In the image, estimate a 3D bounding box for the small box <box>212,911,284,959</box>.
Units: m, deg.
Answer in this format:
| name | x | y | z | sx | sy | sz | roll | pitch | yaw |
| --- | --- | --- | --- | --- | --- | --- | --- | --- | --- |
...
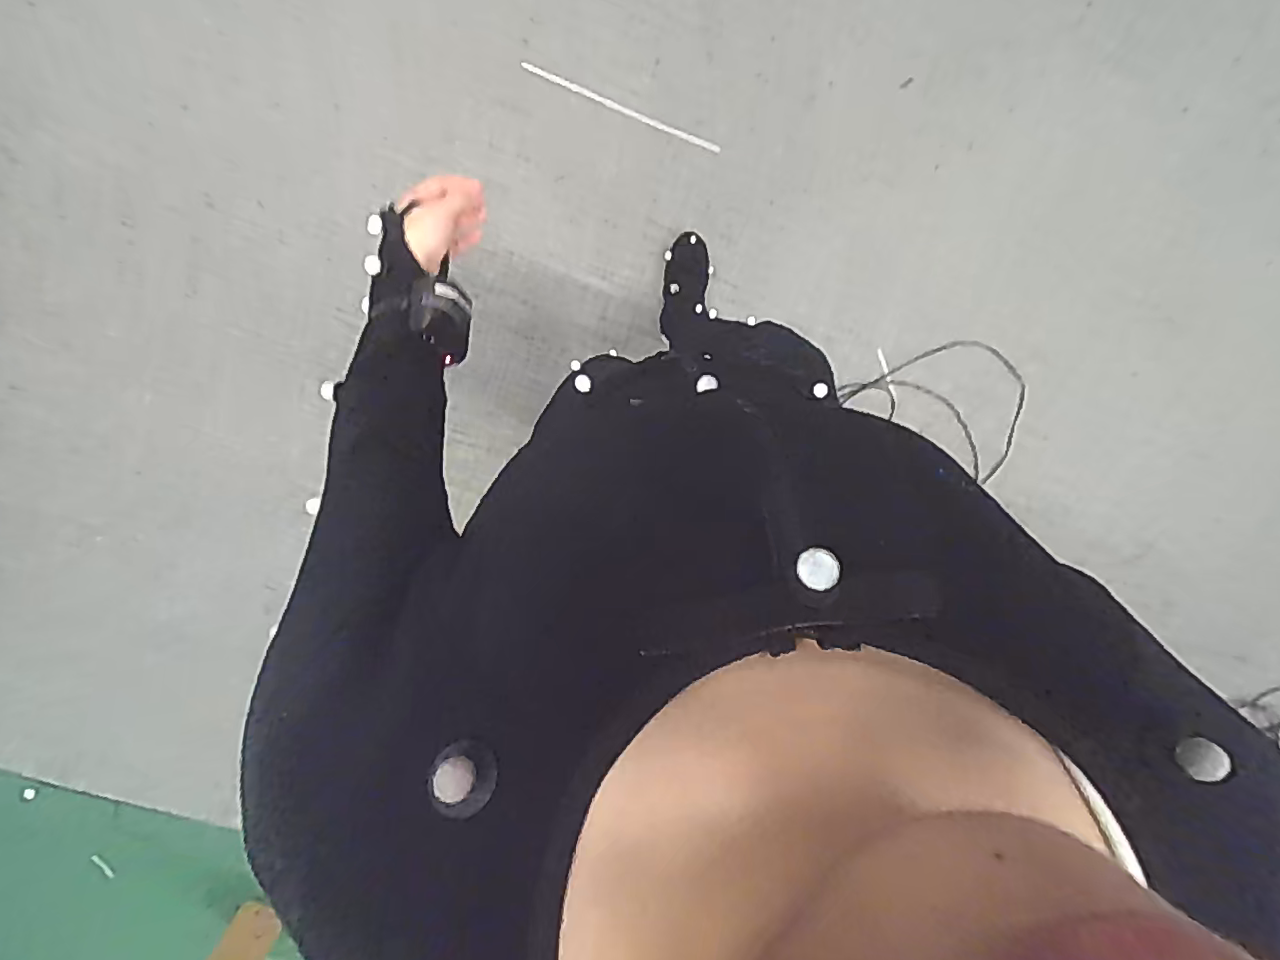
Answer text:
| name | x | y | z | sx | sy | sz | roll | pitch | yaw |
| --- | --- | --- | --- | --- | --- | --- | --- | --- | --- |
| small box | -1.415 | 1.694 | 1.928 | 0.168 | 0.176 | 0.179 | 27 | 105 | -9 |
